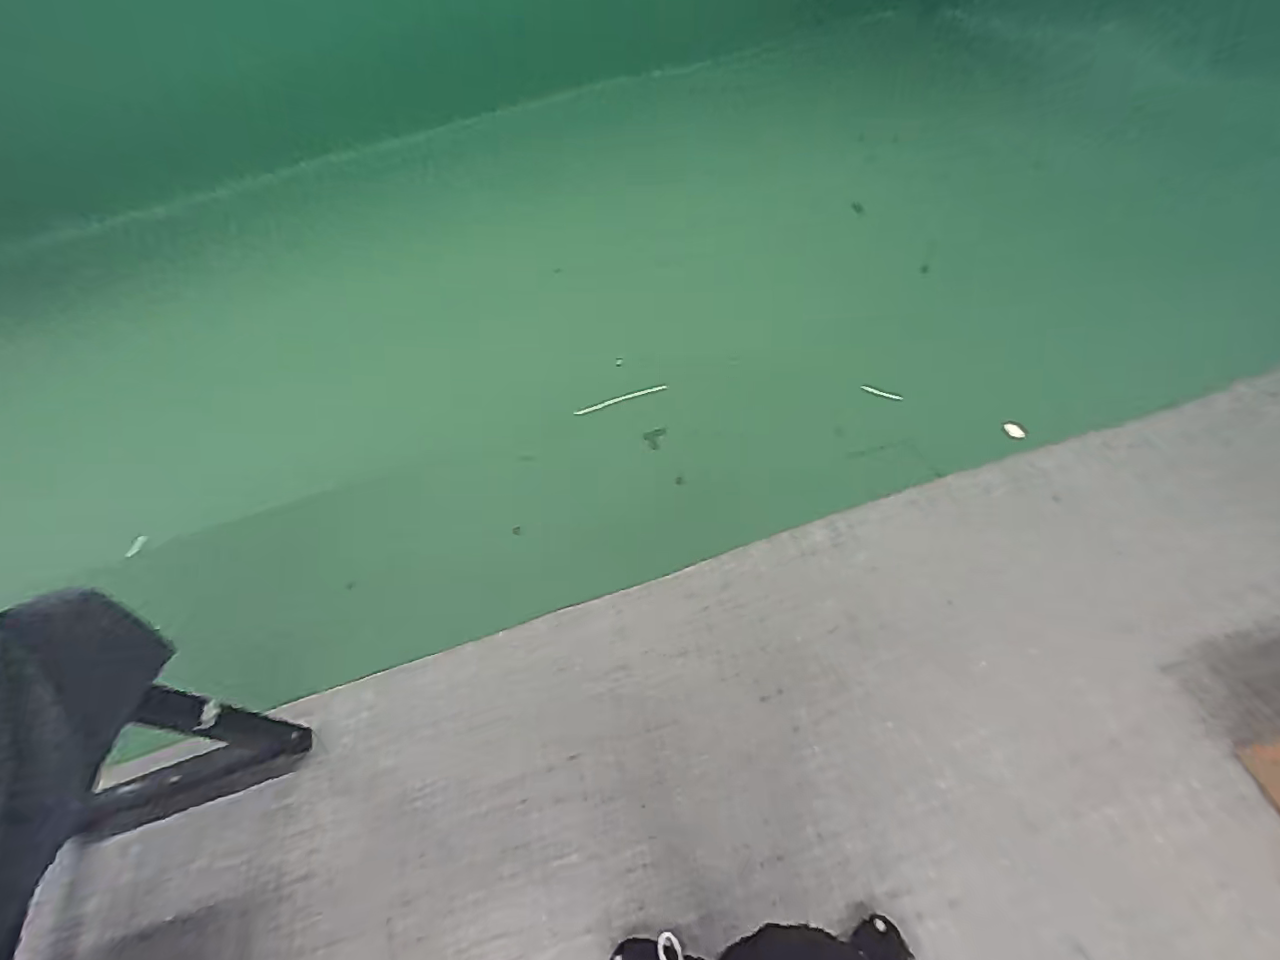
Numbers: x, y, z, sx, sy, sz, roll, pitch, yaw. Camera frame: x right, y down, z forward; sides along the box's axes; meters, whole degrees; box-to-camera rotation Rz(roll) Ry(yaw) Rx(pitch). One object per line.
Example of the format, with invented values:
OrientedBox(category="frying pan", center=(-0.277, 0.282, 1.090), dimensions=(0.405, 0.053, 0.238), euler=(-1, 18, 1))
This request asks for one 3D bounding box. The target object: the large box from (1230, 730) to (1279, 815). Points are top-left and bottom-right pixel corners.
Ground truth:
OrientedBox(category="large box", center=(1.337, 0.567, 0.848), dimensions=(0.320, 0.320, 0.408), euler=(-14, 56, -1))
